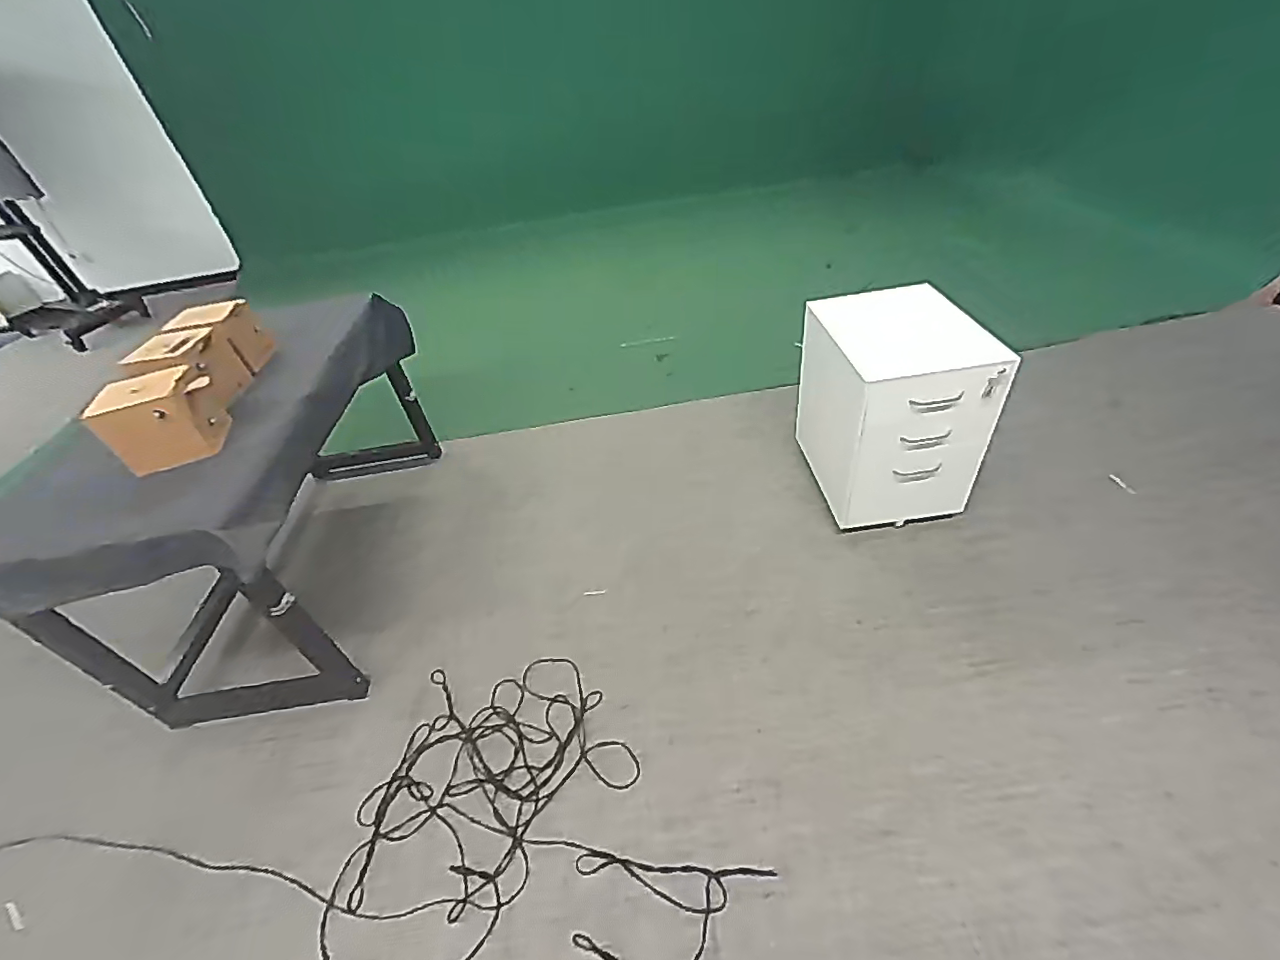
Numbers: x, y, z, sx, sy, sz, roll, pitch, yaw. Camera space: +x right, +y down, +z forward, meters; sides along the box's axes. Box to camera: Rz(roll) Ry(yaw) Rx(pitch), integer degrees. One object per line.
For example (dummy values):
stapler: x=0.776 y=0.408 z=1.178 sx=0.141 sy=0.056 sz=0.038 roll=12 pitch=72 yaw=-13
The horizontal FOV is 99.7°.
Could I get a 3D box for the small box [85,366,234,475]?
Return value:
small box: x=-1.101 y=-0.137 z=1.259 sx=0.179 sy=0.176 sz=0.168 roll=-19 pitch=41 yaw=-11
